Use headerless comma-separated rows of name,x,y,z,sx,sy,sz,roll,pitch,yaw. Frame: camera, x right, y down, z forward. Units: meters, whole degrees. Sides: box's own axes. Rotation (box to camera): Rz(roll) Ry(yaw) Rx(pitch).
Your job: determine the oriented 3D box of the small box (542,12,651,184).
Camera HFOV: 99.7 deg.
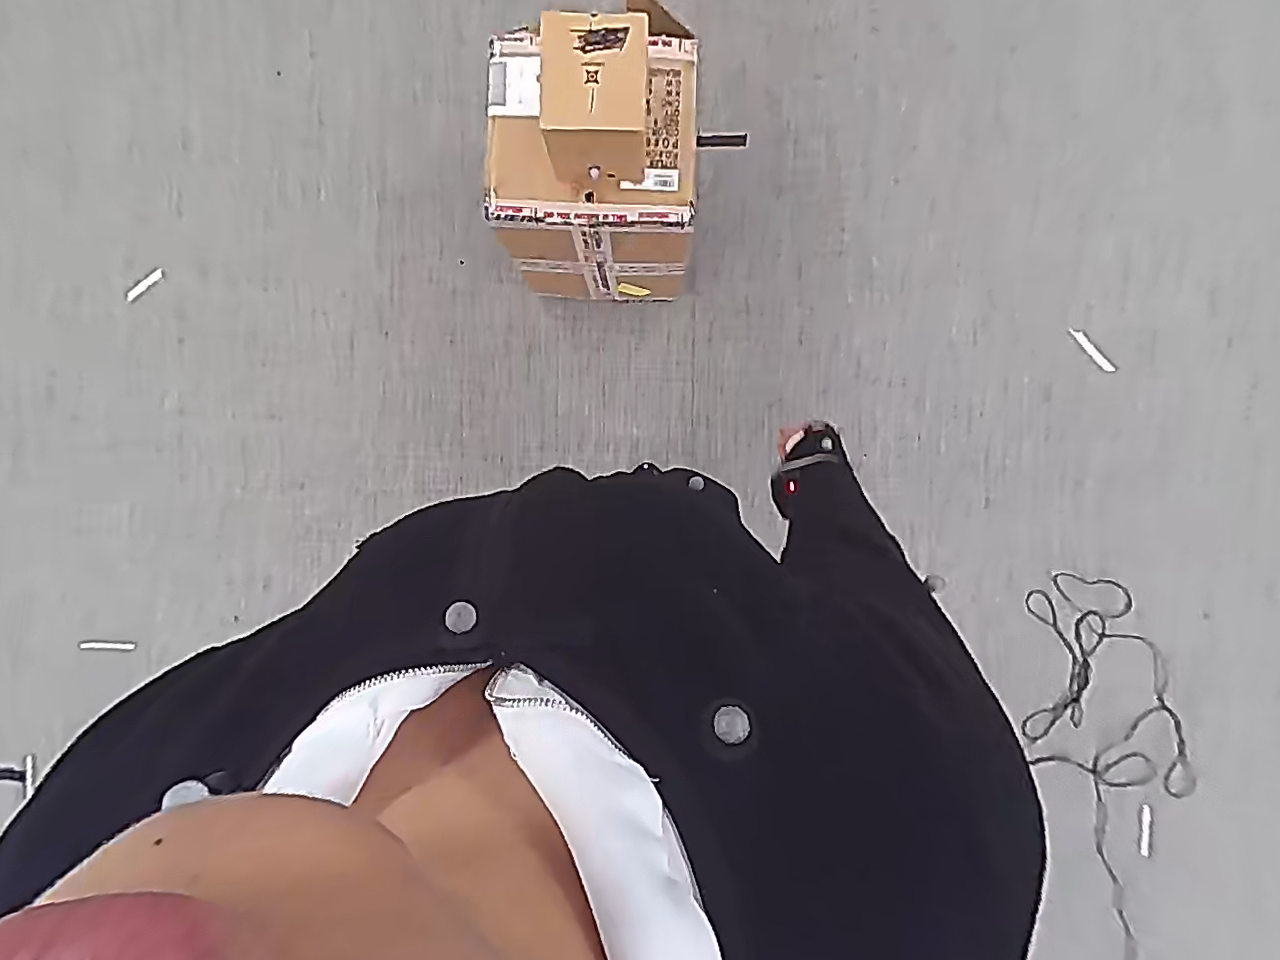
small box,-0.068,-0.633,0.913,0.168,0.176,0.179,2,95,1
